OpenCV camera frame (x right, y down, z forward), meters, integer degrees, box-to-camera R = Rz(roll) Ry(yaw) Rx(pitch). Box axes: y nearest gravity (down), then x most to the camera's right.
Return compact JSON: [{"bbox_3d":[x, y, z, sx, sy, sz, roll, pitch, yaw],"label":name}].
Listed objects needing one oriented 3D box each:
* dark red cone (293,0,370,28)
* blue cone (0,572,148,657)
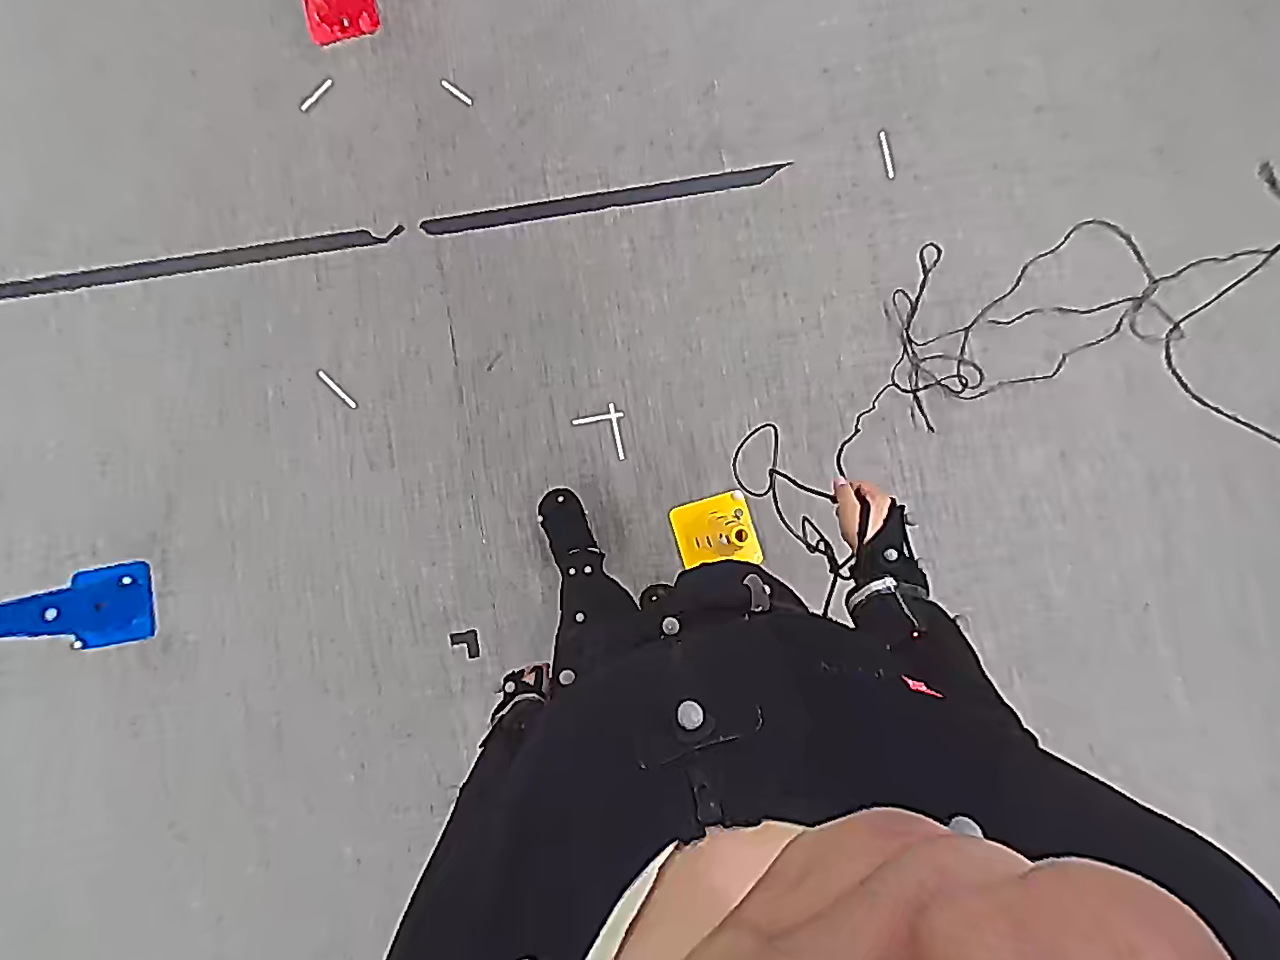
[{"bbox_3d":[-0.860,-1.367,1.331,0.202,0.394,0.201,-17,86,-1],"label":"dark red cone"},{"bbox_3d":[-1.338,0.322,1.194,0.193,0.380,0.192,-9,85,-1],"label":"blue cone"}]
